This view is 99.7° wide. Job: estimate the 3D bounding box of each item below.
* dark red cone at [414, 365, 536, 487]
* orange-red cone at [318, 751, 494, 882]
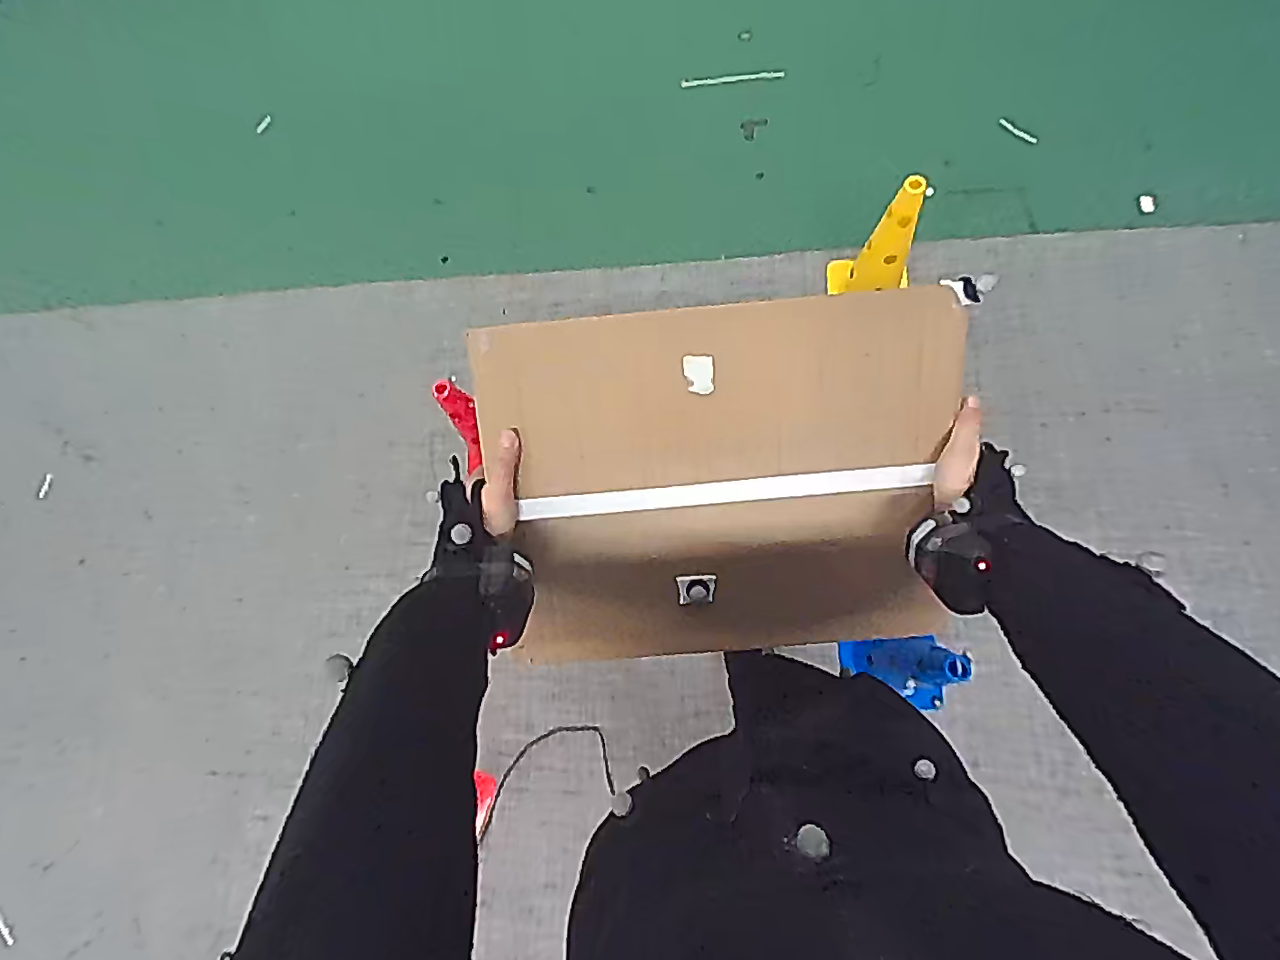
[{"bbox_3d":[-0.385,-0.140,1.224,0.202,0.394,0.201,-8,69,6],"label":"dark red cone"},{"bbox_3d":[-0.459,0.663,1.006,0.199,0.360,0.198,18,75,15],"label":"orange-red cone"}]
